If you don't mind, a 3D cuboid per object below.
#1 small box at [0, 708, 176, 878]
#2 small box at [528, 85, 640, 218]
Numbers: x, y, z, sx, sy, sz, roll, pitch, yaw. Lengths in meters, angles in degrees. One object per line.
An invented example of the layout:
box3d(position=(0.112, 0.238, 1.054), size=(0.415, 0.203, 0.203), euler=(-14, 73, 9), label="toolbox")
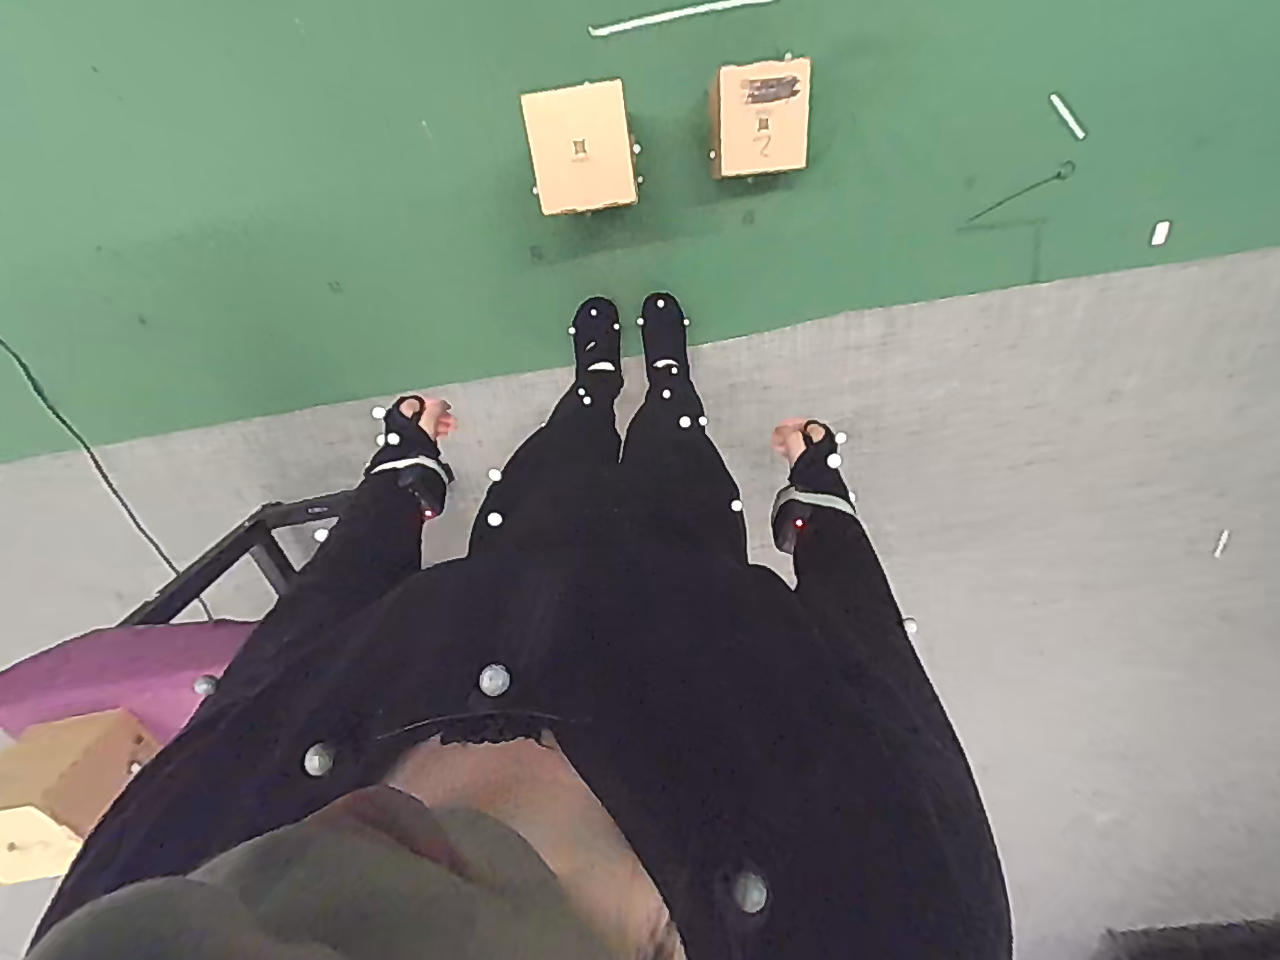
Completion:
box3d(position=(-0.932, 0.502, 0.881), size=(0.179, 0.176, 0.168), euler=(-10, 118, 2), label="small box")
box3d(position=(-0.091, -0.576, 0.970), size=(0.168, 0.176, 0.179), euler=(-7, 117, 4), label="small box")
